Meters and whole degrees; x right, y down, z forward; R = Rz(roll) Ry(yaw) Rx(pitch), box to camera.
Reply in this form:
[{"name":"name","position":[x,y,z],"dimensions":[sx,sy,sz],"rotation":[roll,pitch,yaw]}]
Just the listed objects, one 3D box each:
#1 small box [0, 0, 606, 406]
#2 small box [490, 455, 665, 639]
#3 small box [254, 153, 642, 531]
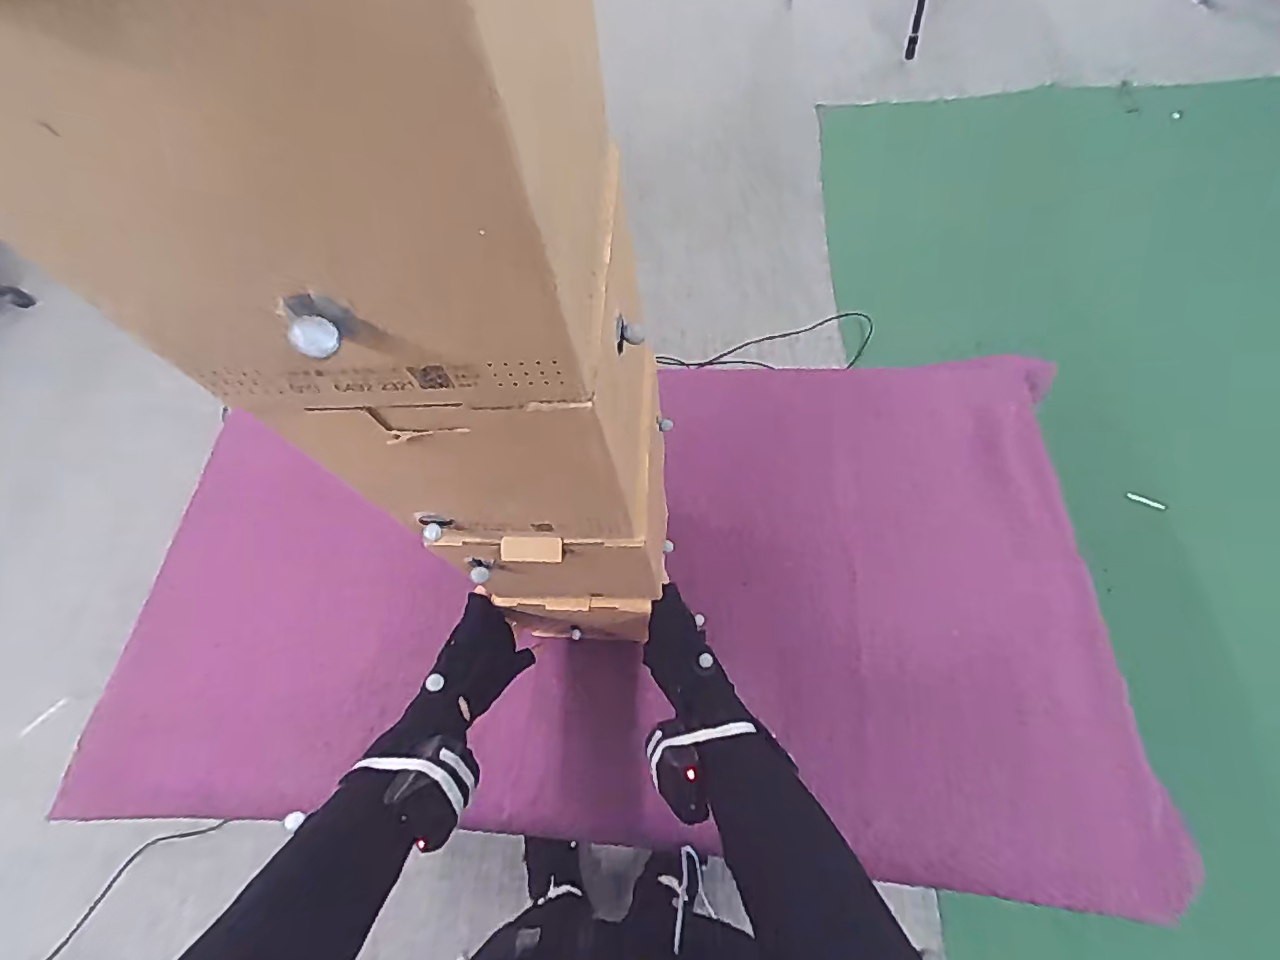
[{"name":"small box","position":[-0.109,-0.147,0.206],"dimensions":[0.168,0.176,0.179],"rotation":[-1,64,6]},{"name":"small box","position":[-0.058,0.082,0.641],"dimensions":[0.168,0.176,0.179],"rotation":[1,65,7]},{"name":"small box","position":[-0.089,-0.074,0.352],"dimensions":[0.168,0.176,0.179],"rotation":[0,63,6]}]
